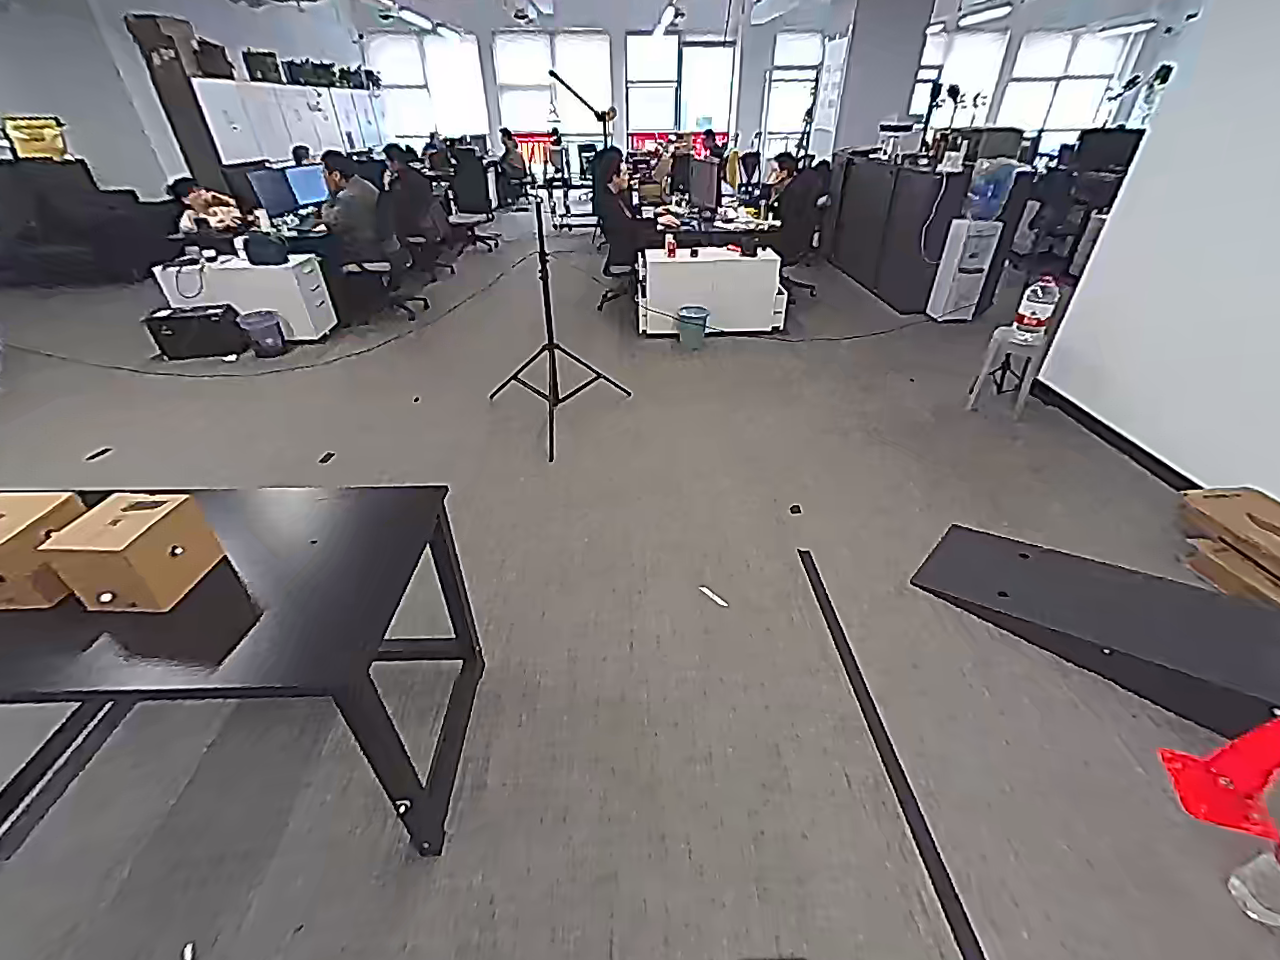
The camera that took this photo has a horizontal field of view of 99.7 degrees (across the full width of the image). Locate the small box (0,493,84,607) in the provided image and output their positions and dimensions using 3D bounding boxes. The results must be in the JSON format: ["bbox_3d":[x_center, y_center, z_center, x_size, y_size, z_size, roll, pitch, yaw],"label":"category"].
[{"bbox_3d":[-1.259,0.144,1.104,0.168,0.176,0.179,0,33,-2],"label":"small box"}]

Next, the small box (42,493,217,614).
[{"bbox_3d":[-1.010,0.146,1.096,0.168,0.176,0.179,1,35,2],"label":"small box"}]
